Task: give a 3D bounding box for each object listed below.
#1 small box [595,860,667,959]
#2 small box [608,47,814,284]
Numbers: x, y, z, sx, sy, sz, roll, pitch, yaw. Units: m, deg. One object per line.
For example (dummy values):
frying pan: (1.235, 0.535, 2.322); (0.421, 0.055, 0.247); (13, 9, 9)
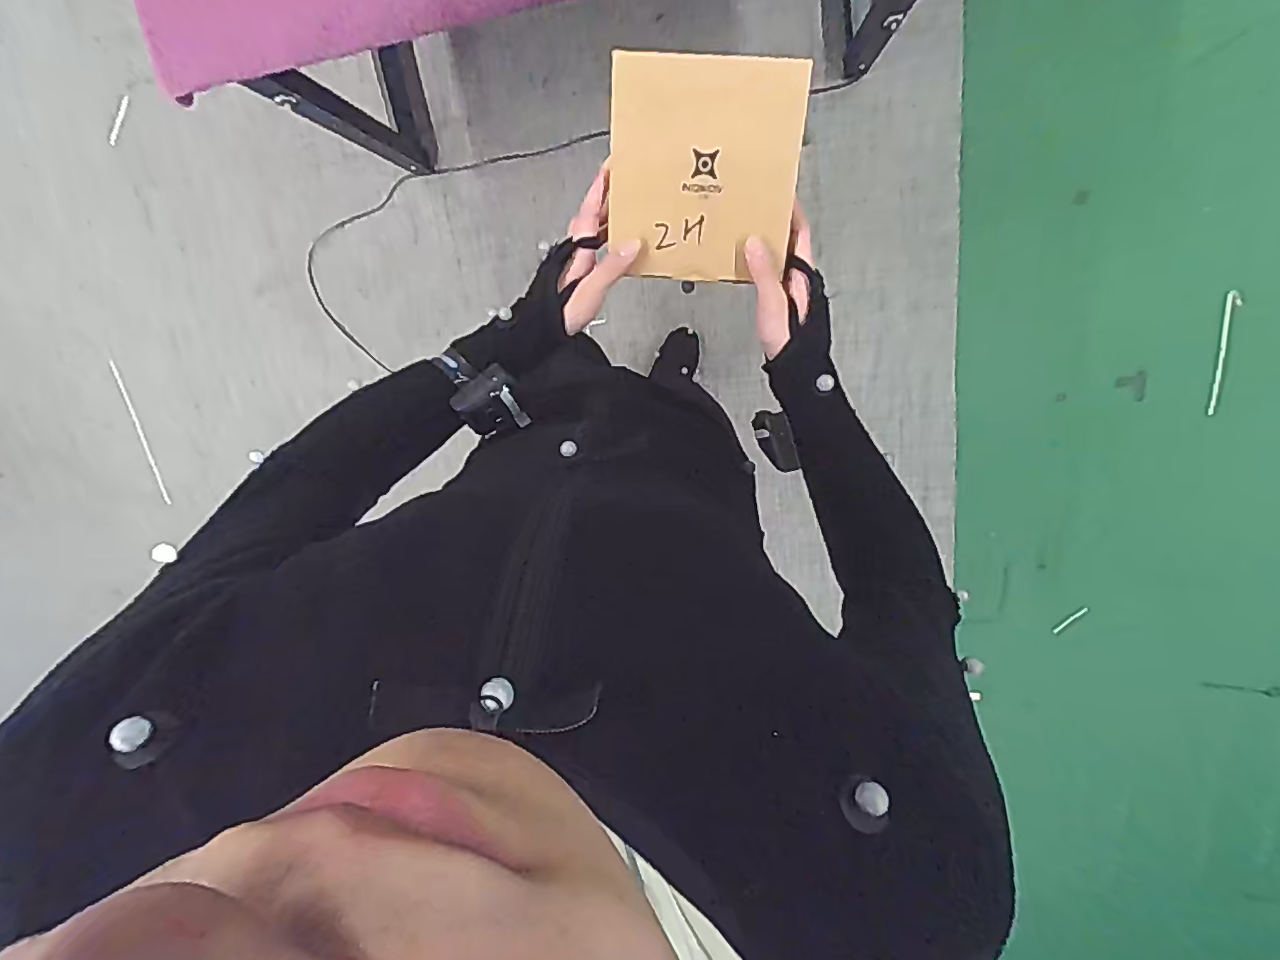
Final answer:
small box: (-0.017, 1.185, 1.474); (0.168, 0.176, 0.179); (-4, 105, 8)
small box: (0.060, -0.298, 0.546); (0.168, 0.176, 0.179); (4, 112, 2)
